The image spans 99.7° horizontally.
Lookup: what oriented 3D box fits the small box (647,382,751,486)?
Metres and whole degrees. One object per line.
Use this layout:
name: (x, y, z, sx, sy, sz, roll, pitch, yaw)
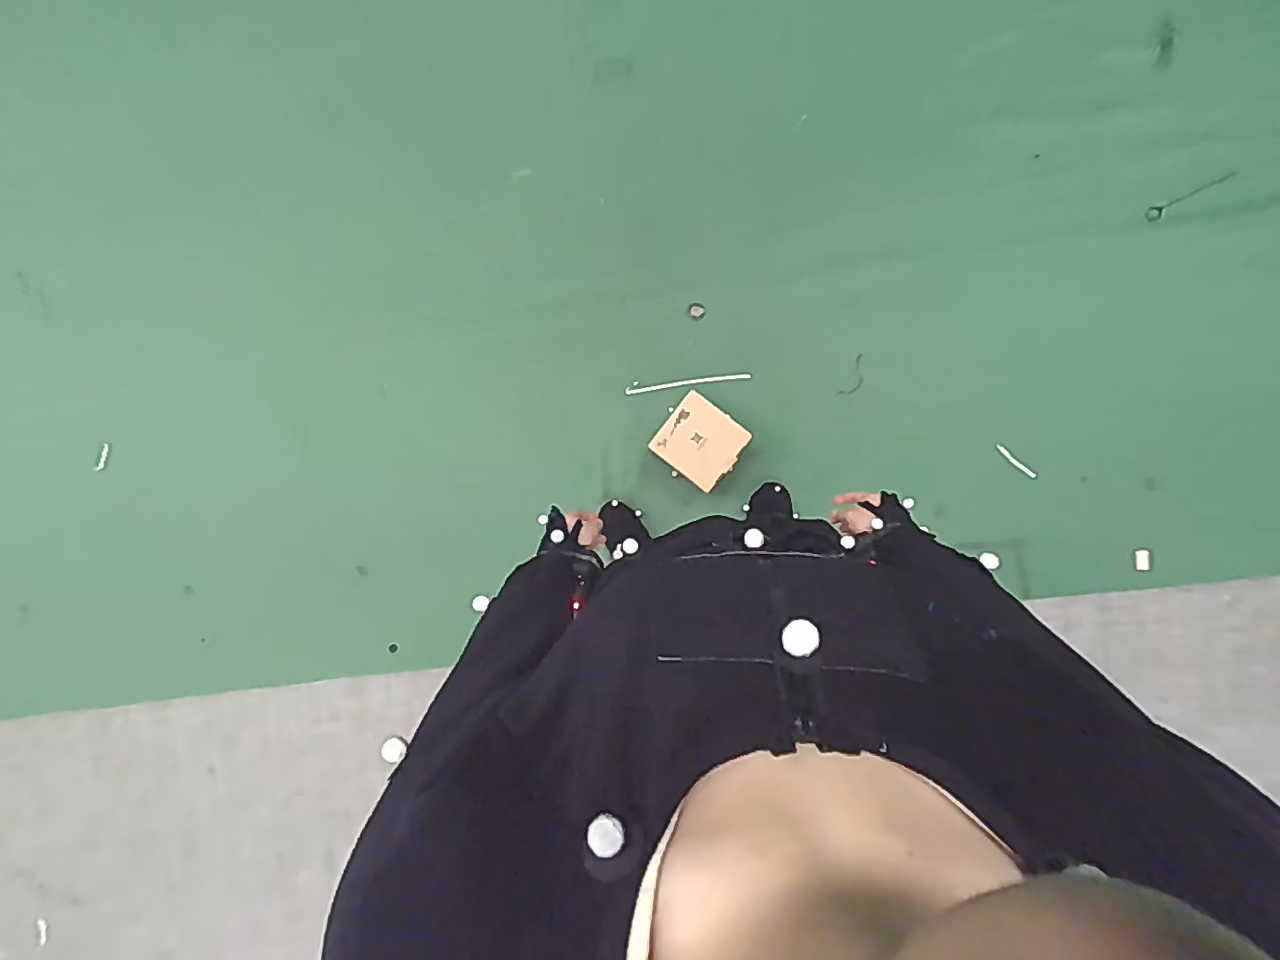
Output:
small box: (0.136, -0.106, 1.279, 0.179, 0.176, 0.168, 39, 93, 2)
